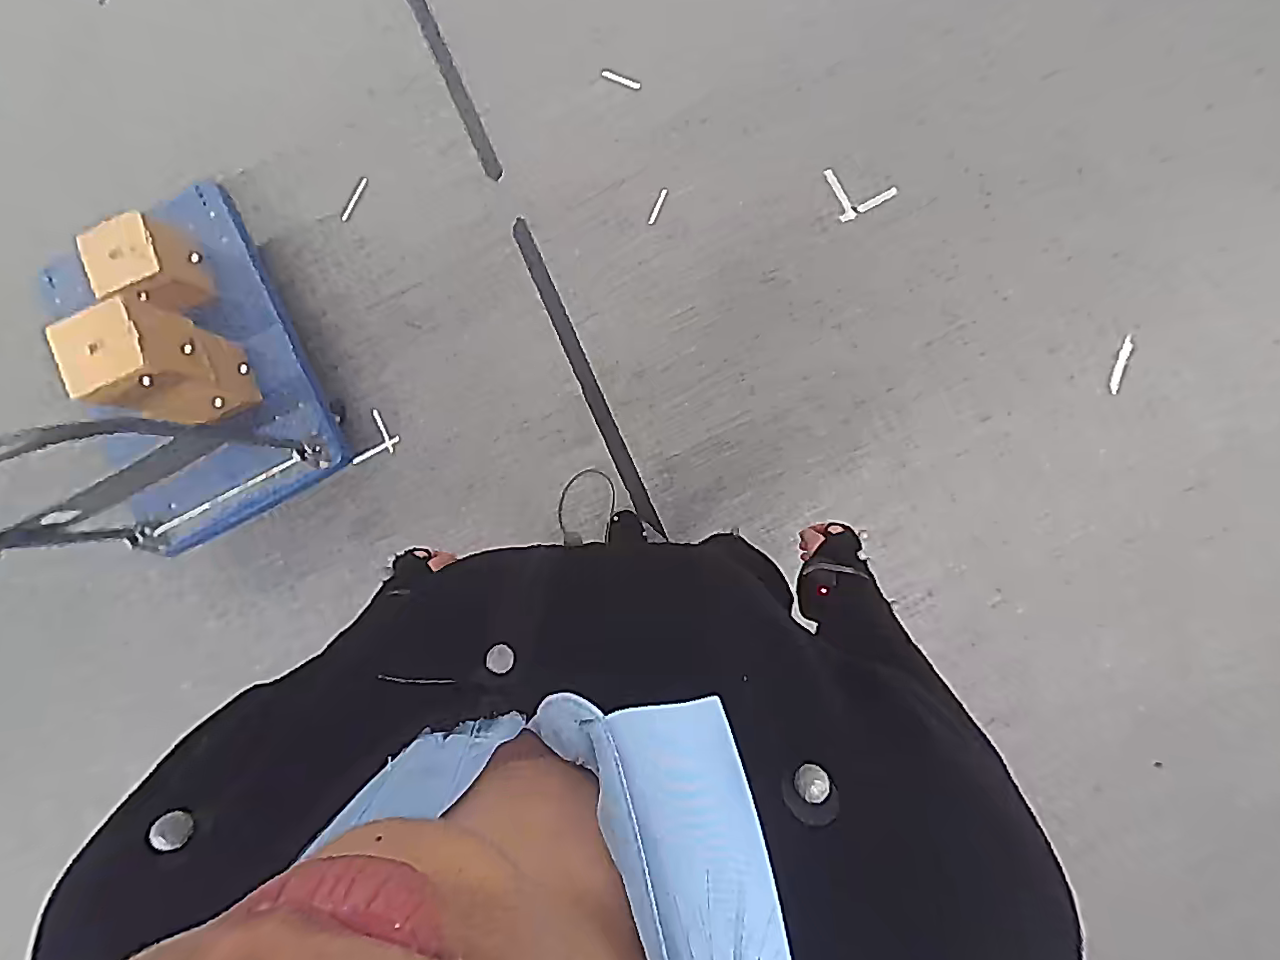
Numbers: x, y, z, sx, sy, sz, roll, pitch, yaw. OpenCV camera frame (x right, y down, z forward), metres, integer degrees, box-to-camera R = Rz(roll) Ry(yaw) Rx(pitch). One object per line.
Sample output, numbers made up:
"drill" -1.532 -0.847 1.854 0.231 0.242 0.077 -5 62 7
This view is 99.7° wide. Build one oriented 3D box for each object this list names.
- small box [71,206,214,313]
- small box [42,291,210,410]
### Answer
"small box" -1.220 -0.530 1.338 0.179 0.176 0.168 -22 87 2
"small box" -1.087 -0.266 1.156 0.179 0.176 0.168 -24 86 1
